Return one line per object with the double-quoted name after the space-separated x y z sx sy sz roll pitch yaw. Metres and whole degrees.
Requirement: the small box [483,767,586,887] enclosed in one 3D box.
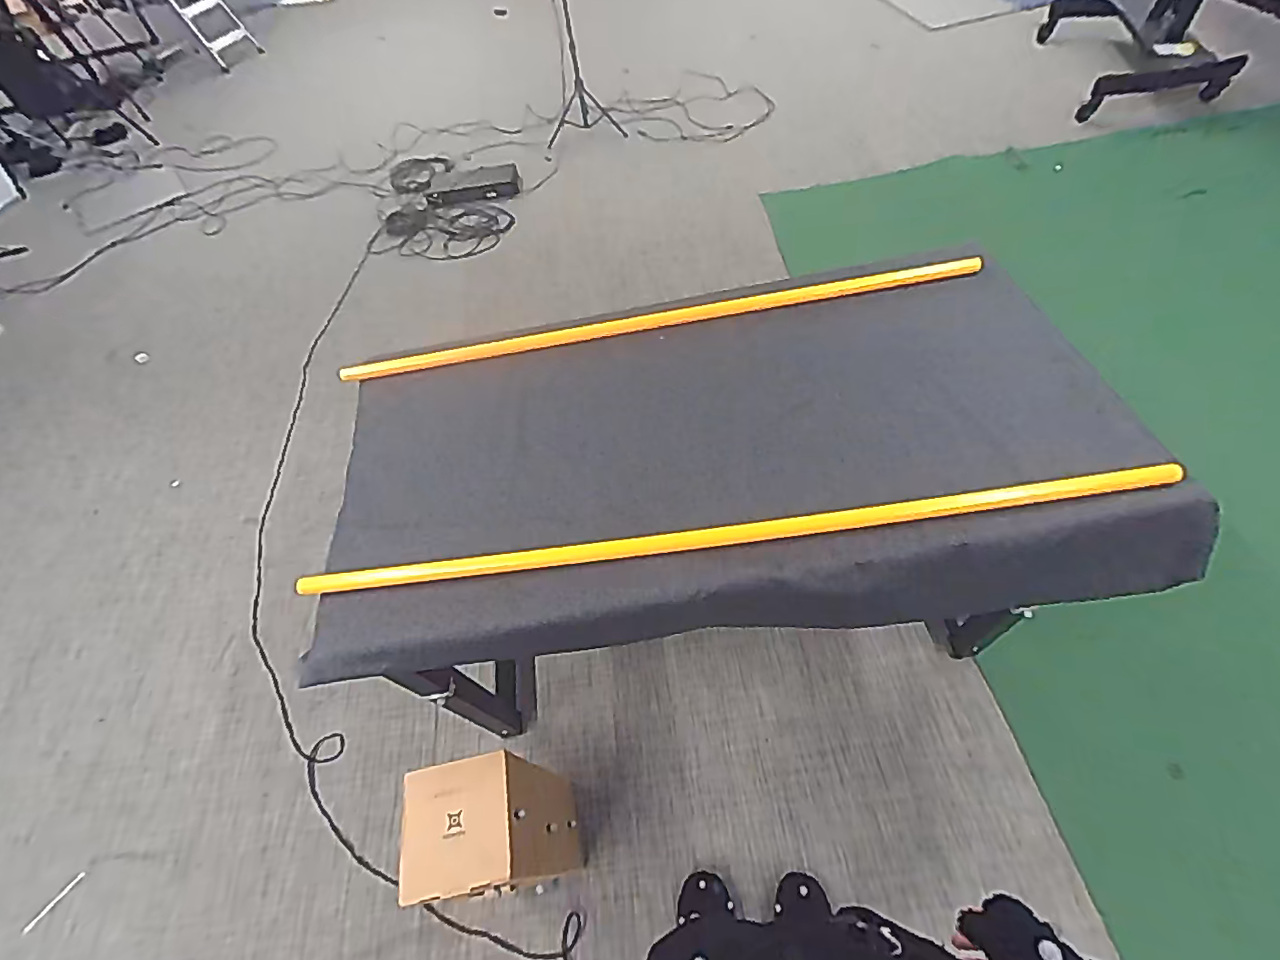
-0.222 0.737 1.151 0.168 0.176 0.179 -16 56 -2 "small box"
